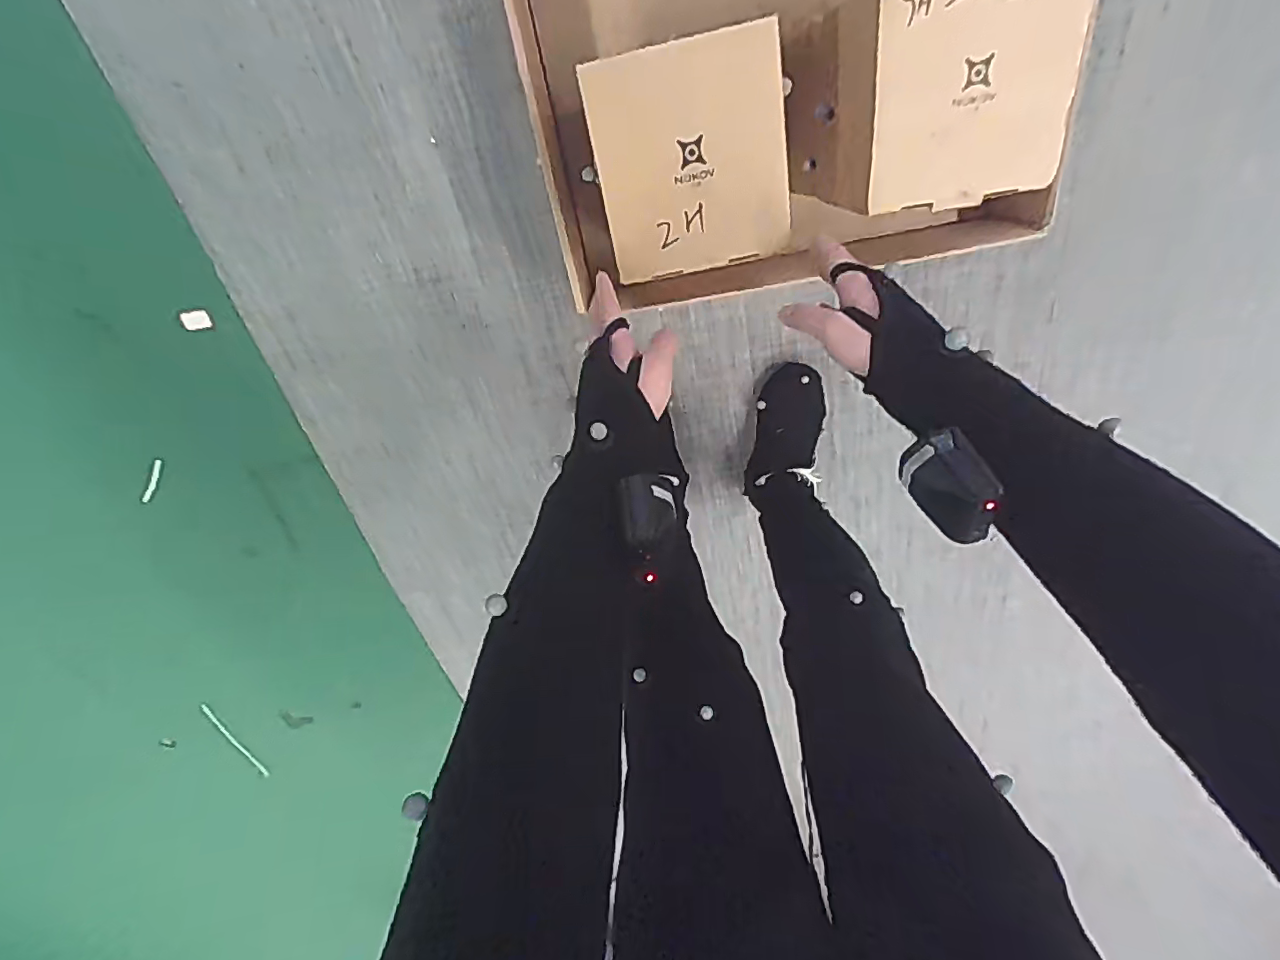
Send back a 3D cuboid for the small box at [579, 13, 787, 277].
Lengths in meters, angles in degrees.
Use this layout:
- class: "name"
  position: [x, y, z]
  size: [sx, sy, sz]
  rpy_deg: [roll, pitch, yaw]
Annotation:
- class: "small box"
  position: [0.041, -0.319, 0.539]
  size: [0.168, 0.176, 0.179]
  rpy_deg: [-10, 120, 5]
